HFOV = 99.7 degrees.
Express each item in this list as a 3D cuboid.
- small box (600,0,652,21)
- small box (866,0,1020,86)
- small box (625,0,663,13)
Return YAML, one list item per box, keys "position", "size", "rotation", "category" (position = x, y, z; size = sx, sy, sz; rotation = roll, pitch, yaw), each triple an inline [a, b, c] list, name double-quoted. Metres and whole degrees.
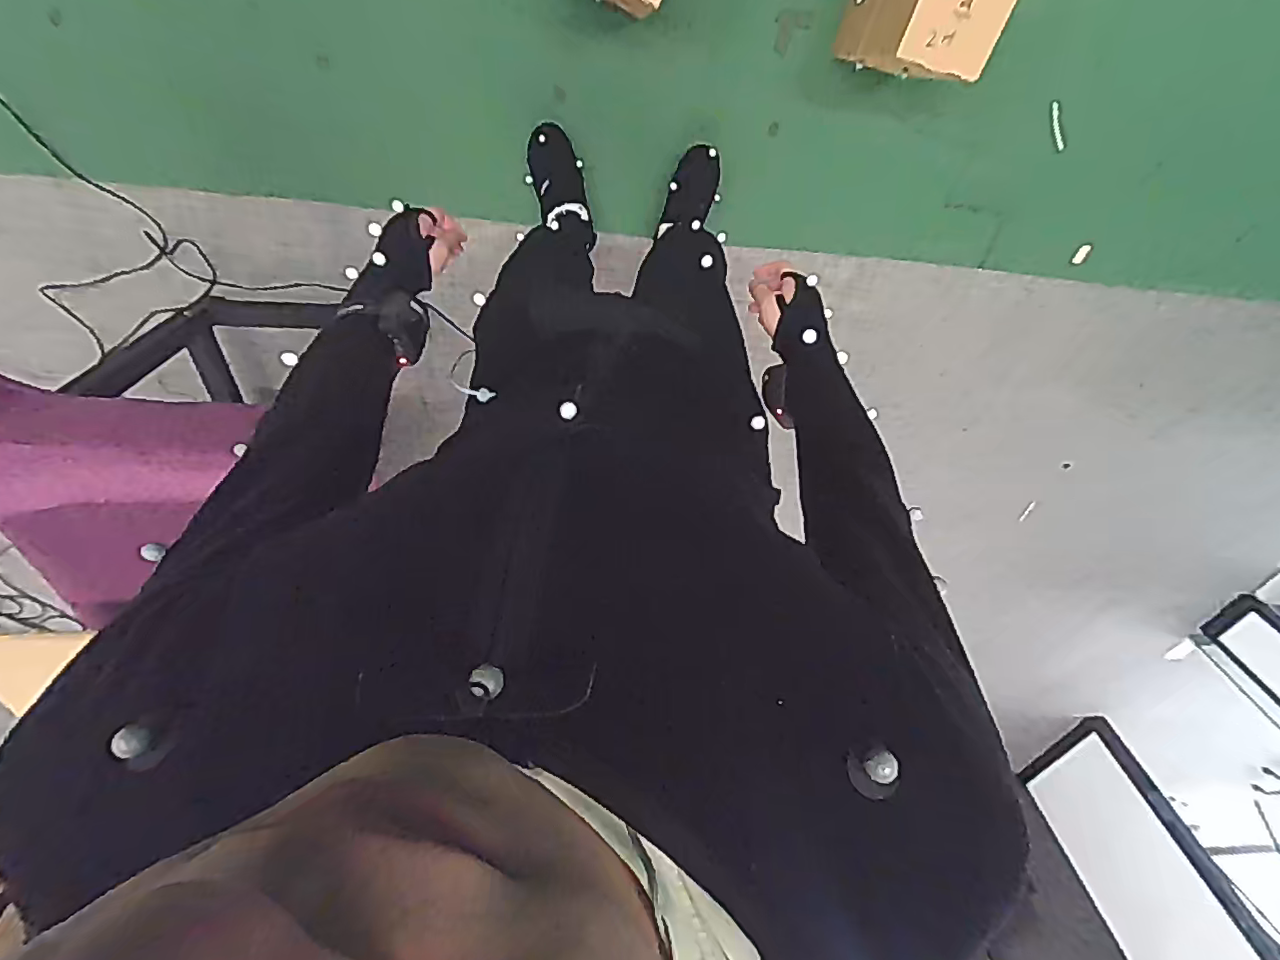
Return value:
- position: [-0.032, -0.988, 0.994]
  size: [0.168, 0.176, 0.179]
  rotation: [15, 127, -16]
  category: "small box"
- position: [0.533, -0.827, 0.956]
  size: [0.168, 0.176, 0.179]
  rotation: [8, 128, -11]
  category: "small box"
- position: [-0.012, -0.889, 0.864]
  size: [0.168, 0.176, 0.179]
  rotation: [17, 125, -18]
  category: "small box"
